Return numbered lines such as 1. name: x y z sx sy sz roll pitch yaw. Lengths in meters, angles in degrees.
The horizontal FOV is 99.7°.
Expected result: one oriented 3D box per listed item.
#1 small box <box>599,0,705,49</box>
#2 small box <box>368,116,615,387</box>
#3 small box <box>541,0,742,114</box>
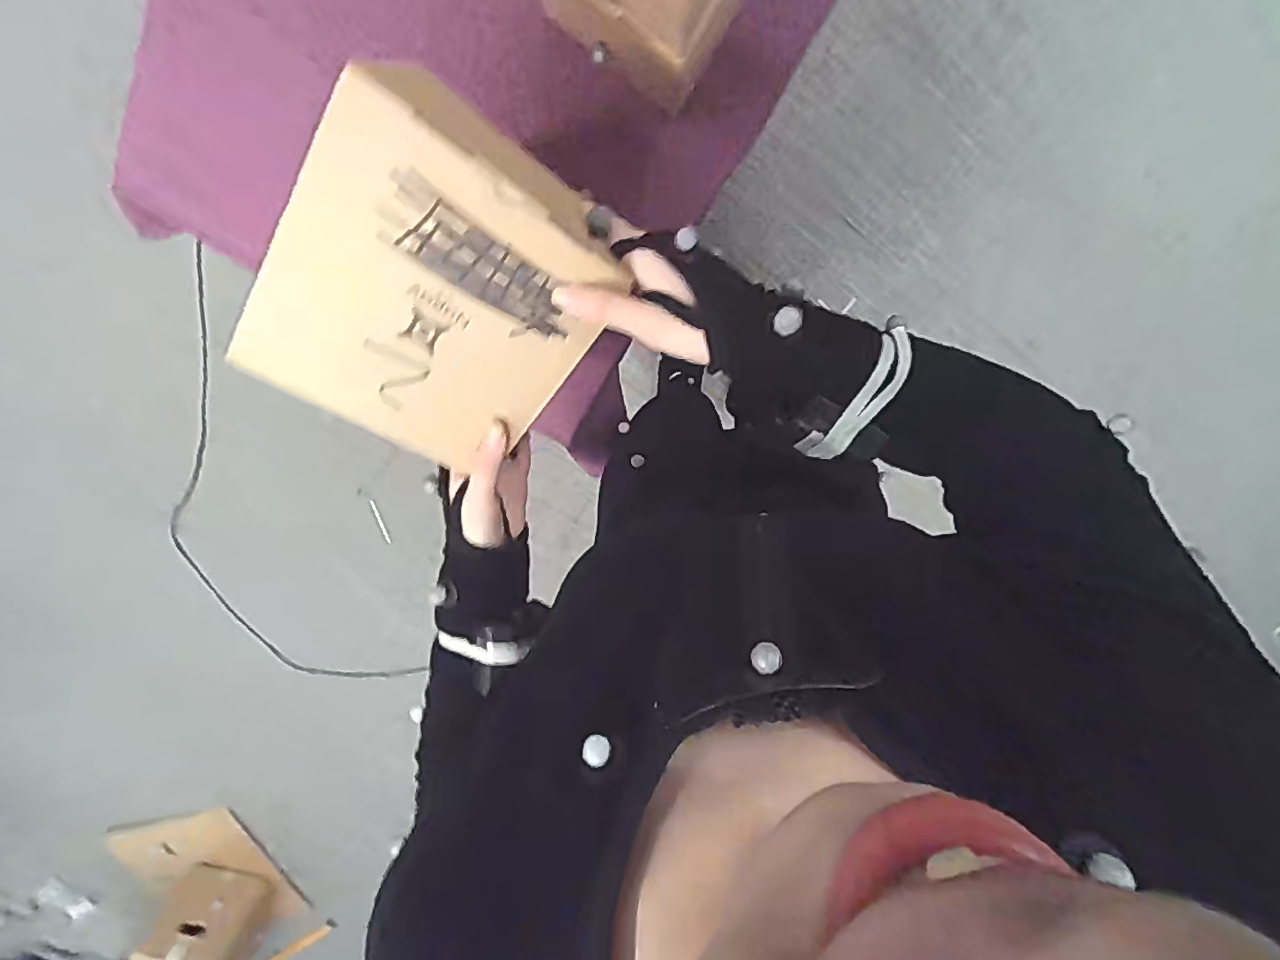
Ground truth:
1. small box: -0.001 -0.410 0.315 0.168 0.176 0.179 30 109 -10
2. small box: -0.139 -0.230 0.573 0.168 0.176 0.179 37 108 -13
3. small box: 0.010 -0.468 0.469 0.168 0.176 0.179 33 110 -10
